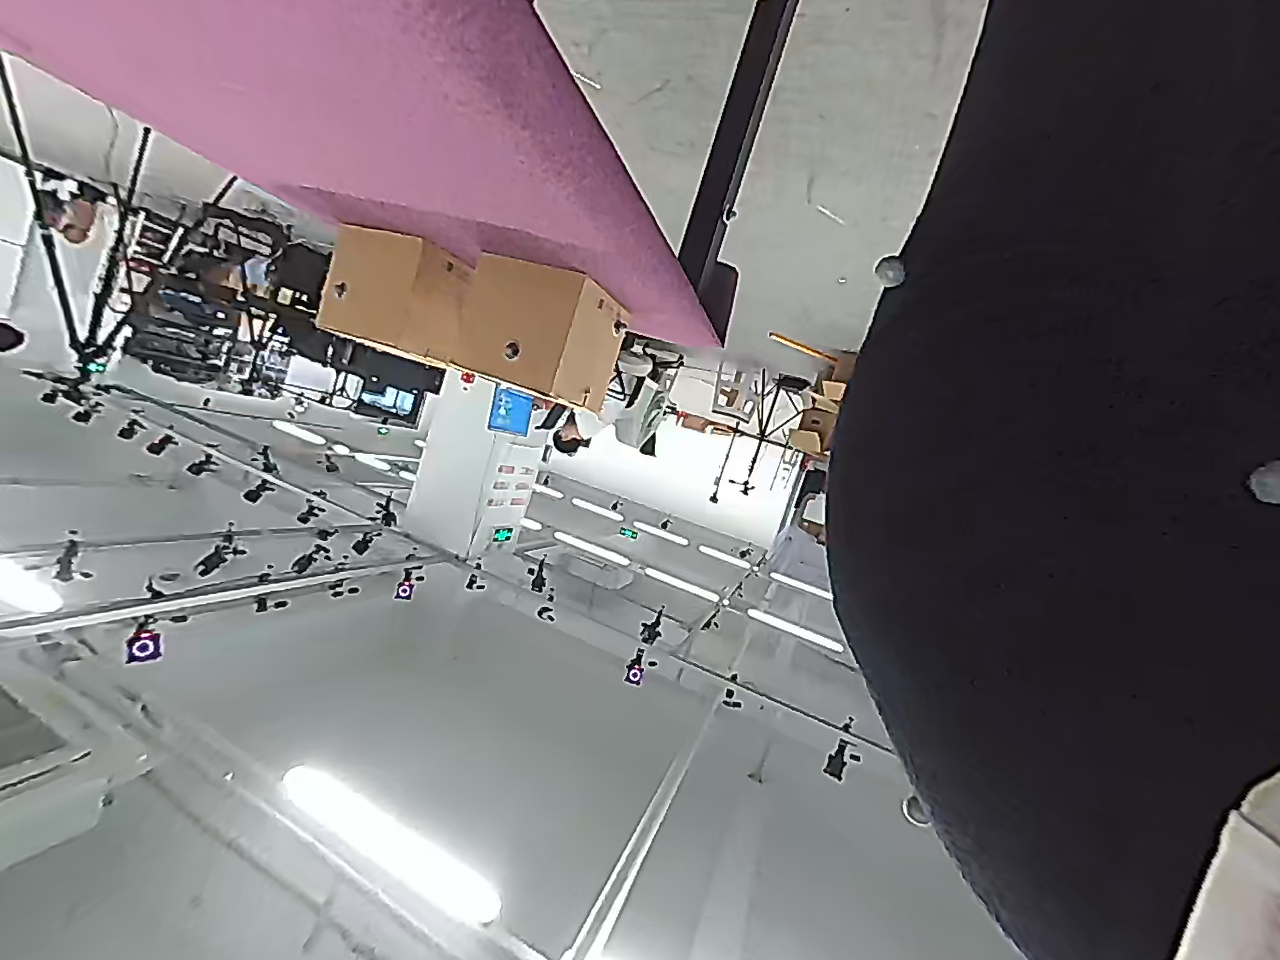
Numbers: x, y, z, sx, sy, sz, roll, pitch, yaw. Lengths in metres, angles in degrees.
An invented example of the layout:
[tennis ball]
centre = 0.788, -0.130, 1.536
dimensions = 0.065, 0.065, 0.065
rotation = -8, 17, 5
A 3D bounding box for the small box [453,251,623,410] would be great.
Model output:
[small box]
centre = -0.139, -0.219, 0.804
dimensions = 0.179, 0.176, 0.168
rotation = 21, -176, 20
